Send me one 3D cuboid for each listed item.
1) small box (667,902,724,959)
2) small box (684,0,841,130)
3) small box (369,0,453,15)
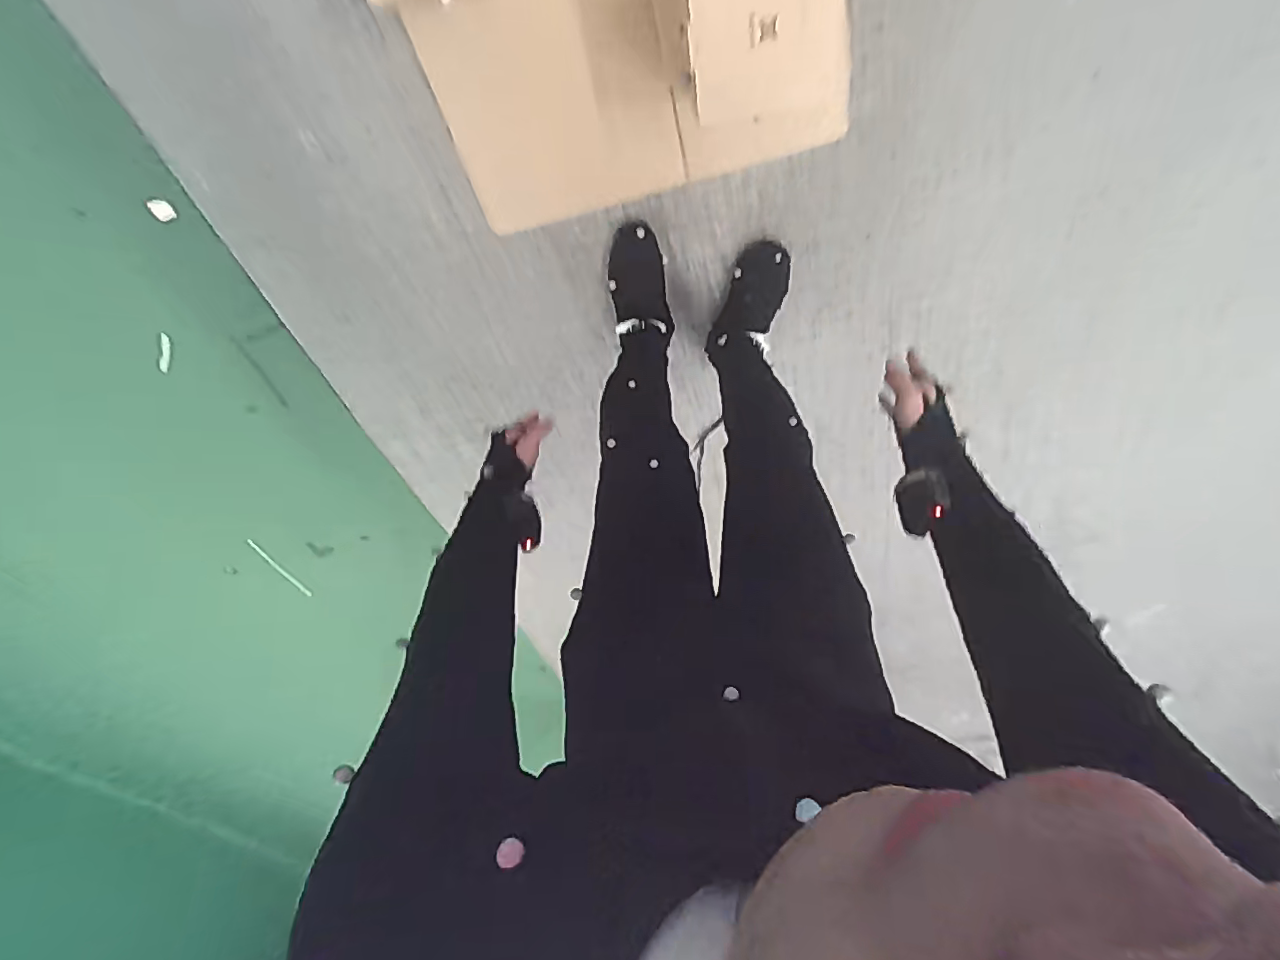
[{"bbox_3d":[0.185,1.541,1.819,0.179,0.176,0.168,-6,131,8],"label":"small box"},{"bbox_3d":[0.148,-0.569,0.691,0.179,0.176,0.168,-6,131,7],"label":"small box"},{"bbox_3d":[-0.240,-0.664,0.618,0.179,0.176,0.168,-9,131,10],"label":"small box"}]
